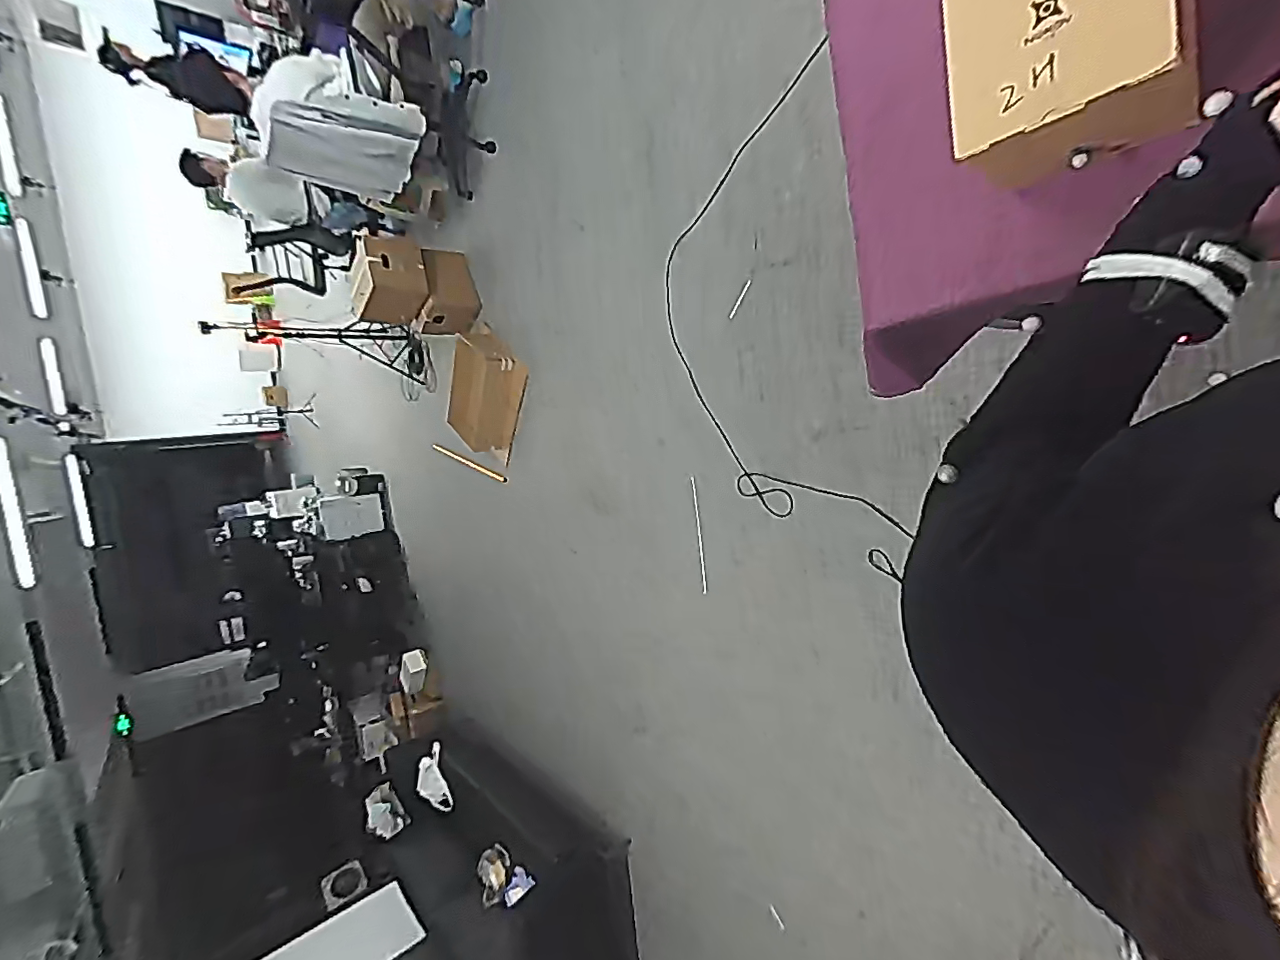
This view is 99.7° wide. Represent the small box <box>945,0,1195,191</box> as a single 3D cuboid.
[{"bbox_3d":[0.429,-0.424,0.542,0.168,0.176,0.179,-2,96,51],"label":"small box"}]
